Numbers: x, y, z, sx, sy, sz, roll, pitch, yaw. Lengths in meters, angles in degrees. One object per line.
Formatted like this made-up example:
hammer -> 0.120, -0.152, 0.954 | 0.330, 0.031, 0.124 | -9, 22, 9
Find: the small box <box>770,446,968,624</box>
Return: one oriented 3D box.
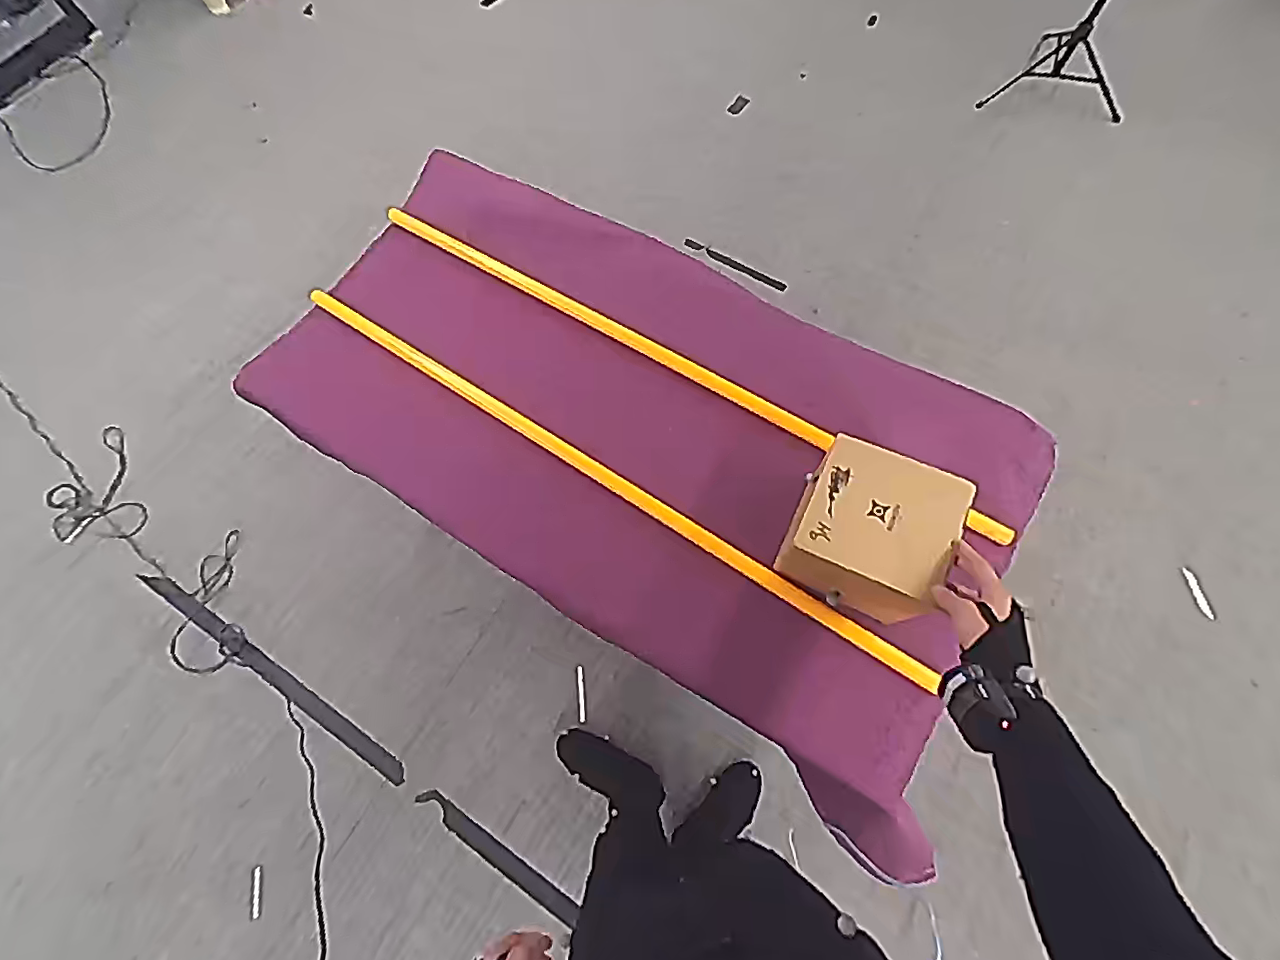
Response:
small box -> 0.296, 0.084, 0.735 | 0.179, 0.176, 0.168 | 25, 74, 13
